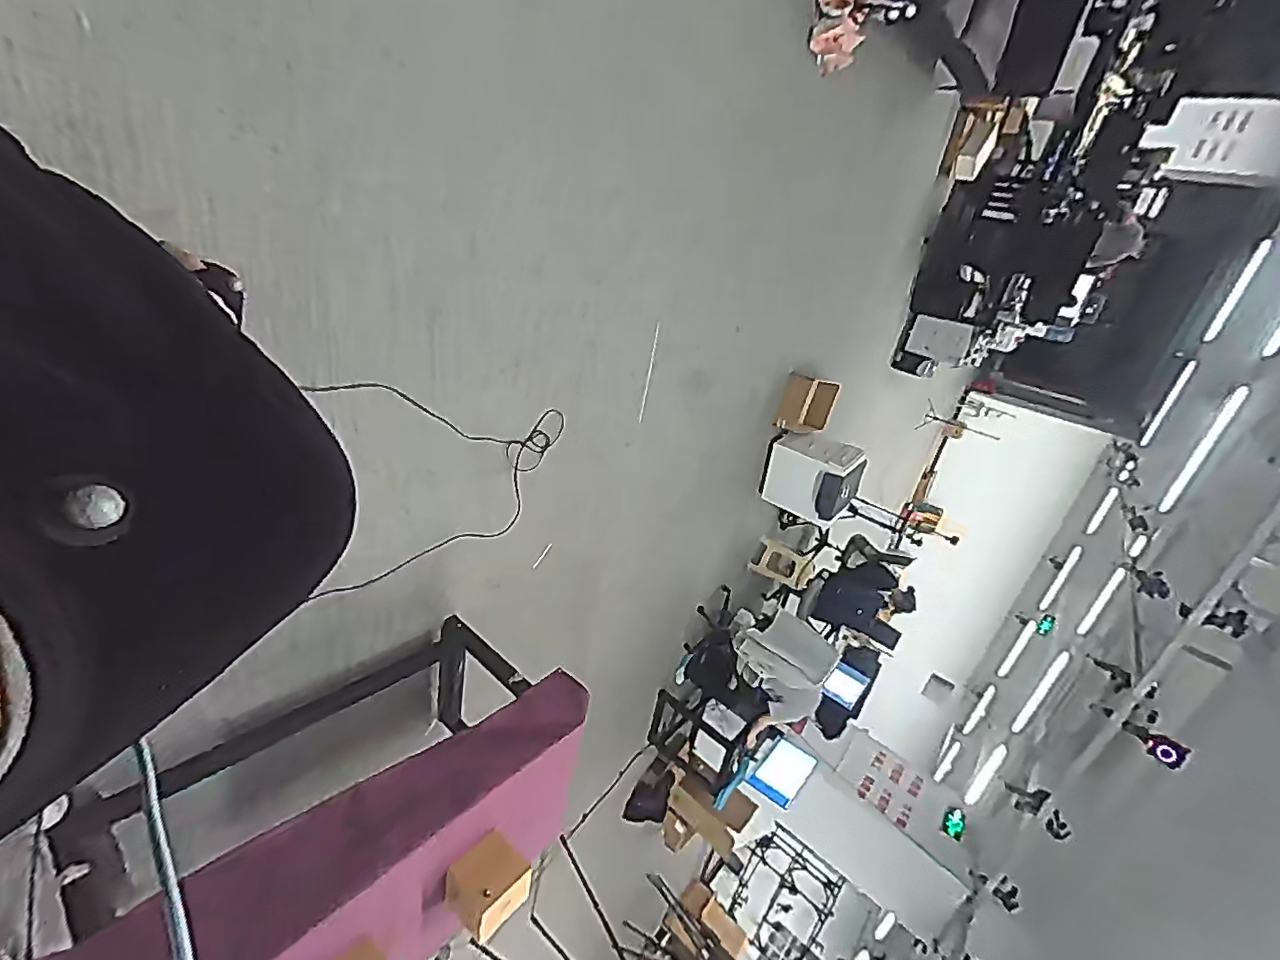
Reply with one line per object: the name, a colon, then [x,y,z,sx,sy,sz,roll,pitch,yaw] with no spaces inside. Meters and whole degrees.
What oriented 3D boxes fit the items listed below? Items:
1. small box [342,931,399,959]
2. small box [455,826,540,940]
small box: [-0.670,1.261,1.308,0.179,0.176,0.168,-18,127,-47]
small box: [-0.422,1.181,1.601,0.179,0.176,0.168,-20,129,-46]
